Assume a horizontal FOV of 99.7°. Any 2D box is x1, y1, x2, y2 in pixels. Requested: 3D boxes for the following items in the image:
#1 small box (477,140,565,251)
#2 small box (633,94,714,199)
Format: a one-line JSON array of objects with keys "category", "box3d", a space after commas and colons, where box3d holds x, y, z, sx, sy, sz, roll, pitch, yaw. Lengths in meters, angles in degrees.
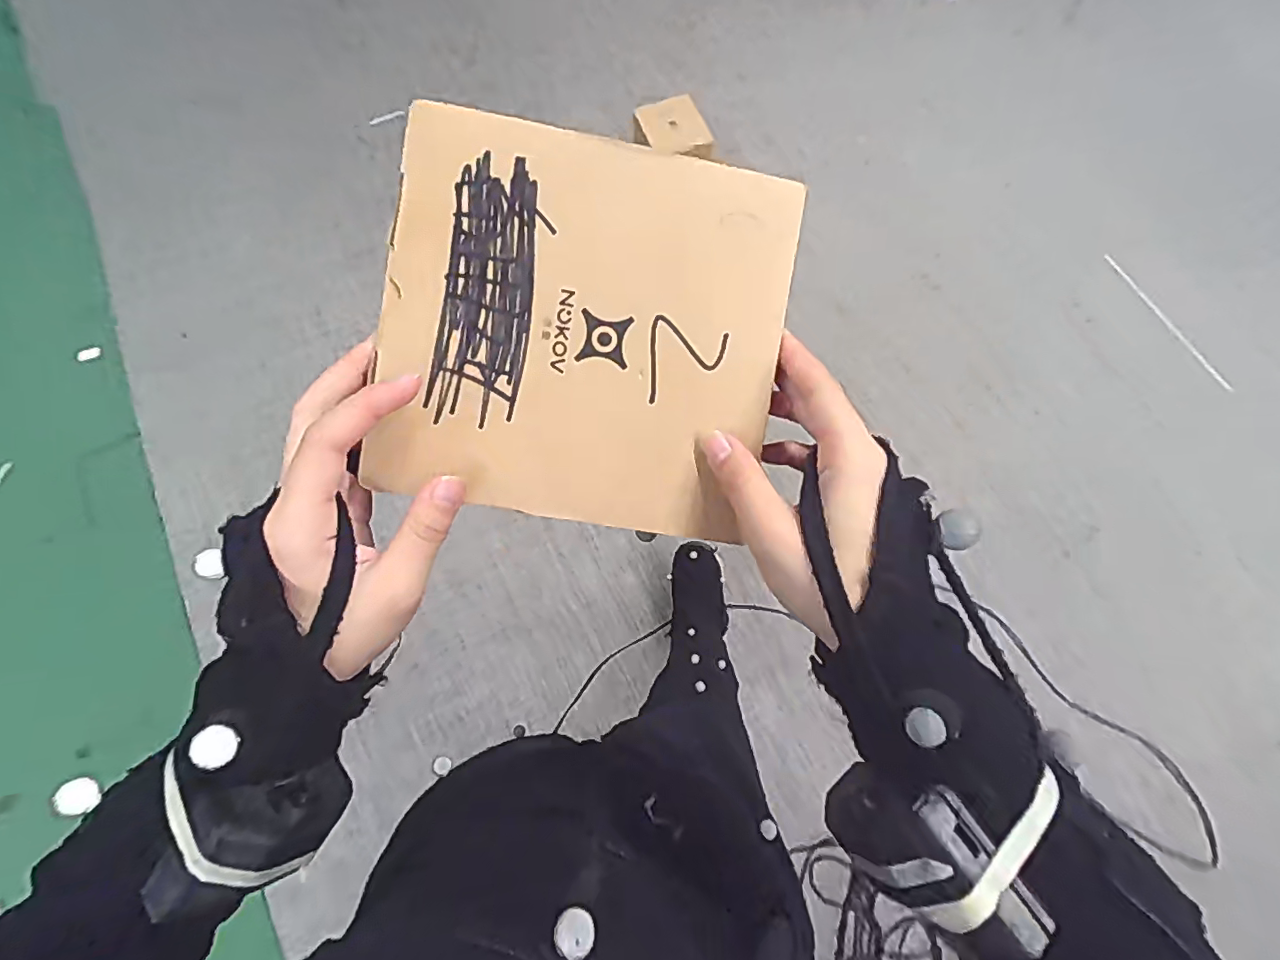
[{"category": "small box", "box3d": [-0.309, -0.755, 1.448, 0.179, 0.176, 0.168, -25, 76, -8]}, {"category": "small box", "box3d": [0.087, -0.915, 1.503, 0.168, 0.176, 0.179, -21, 74, -8]}]
